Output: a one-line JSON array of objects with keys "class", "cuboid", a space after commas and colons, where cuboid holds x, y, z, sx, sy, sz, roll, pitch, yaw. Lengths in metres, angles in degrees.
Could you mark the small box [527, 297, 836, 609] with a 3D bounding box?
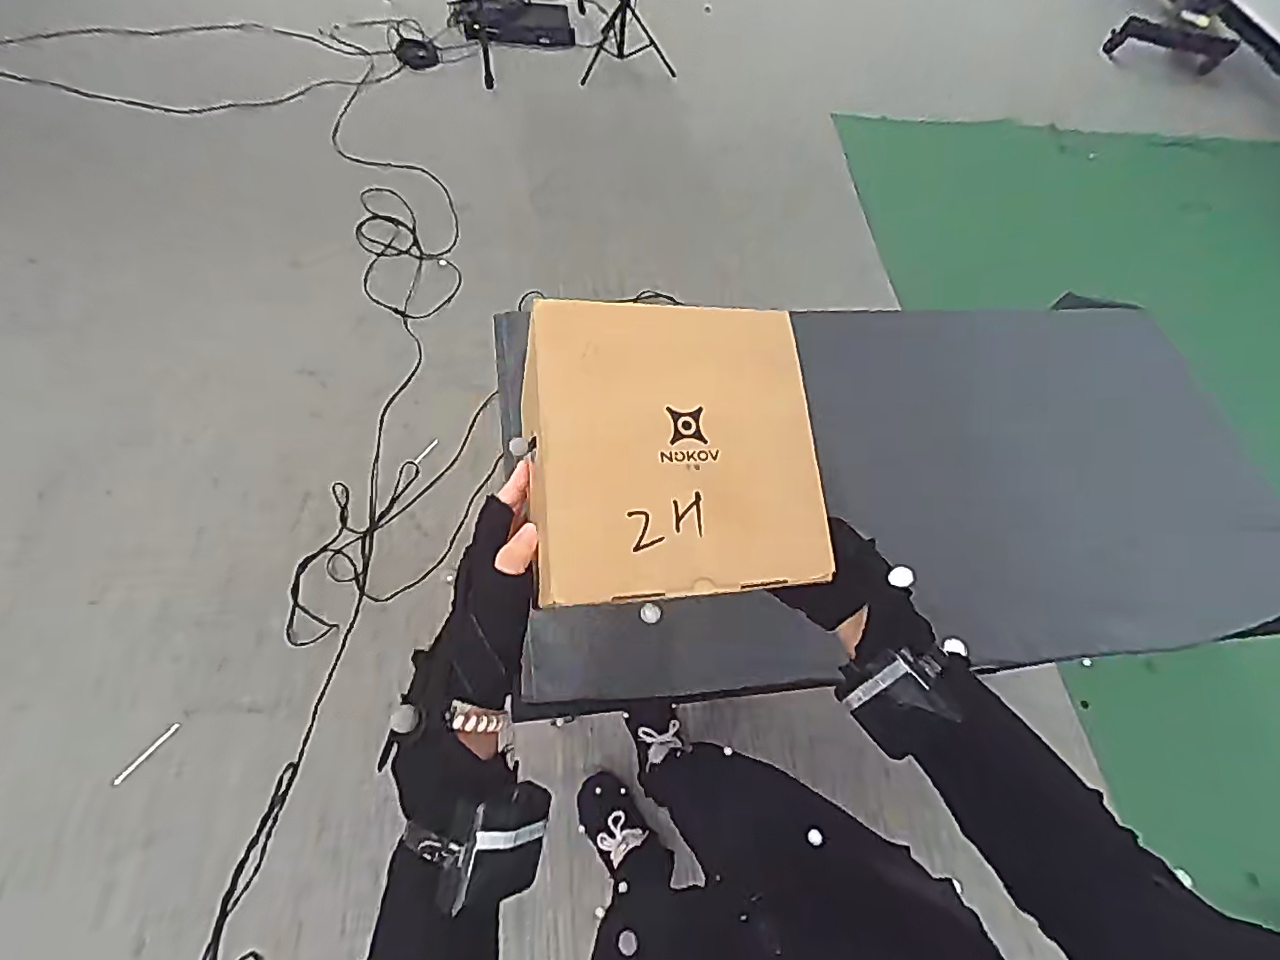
[{"class": "small box", "cuboid": [0.009, -0.004, 0.388, 0.168, 0.176, 0.179, -2, 77, -15]}]
